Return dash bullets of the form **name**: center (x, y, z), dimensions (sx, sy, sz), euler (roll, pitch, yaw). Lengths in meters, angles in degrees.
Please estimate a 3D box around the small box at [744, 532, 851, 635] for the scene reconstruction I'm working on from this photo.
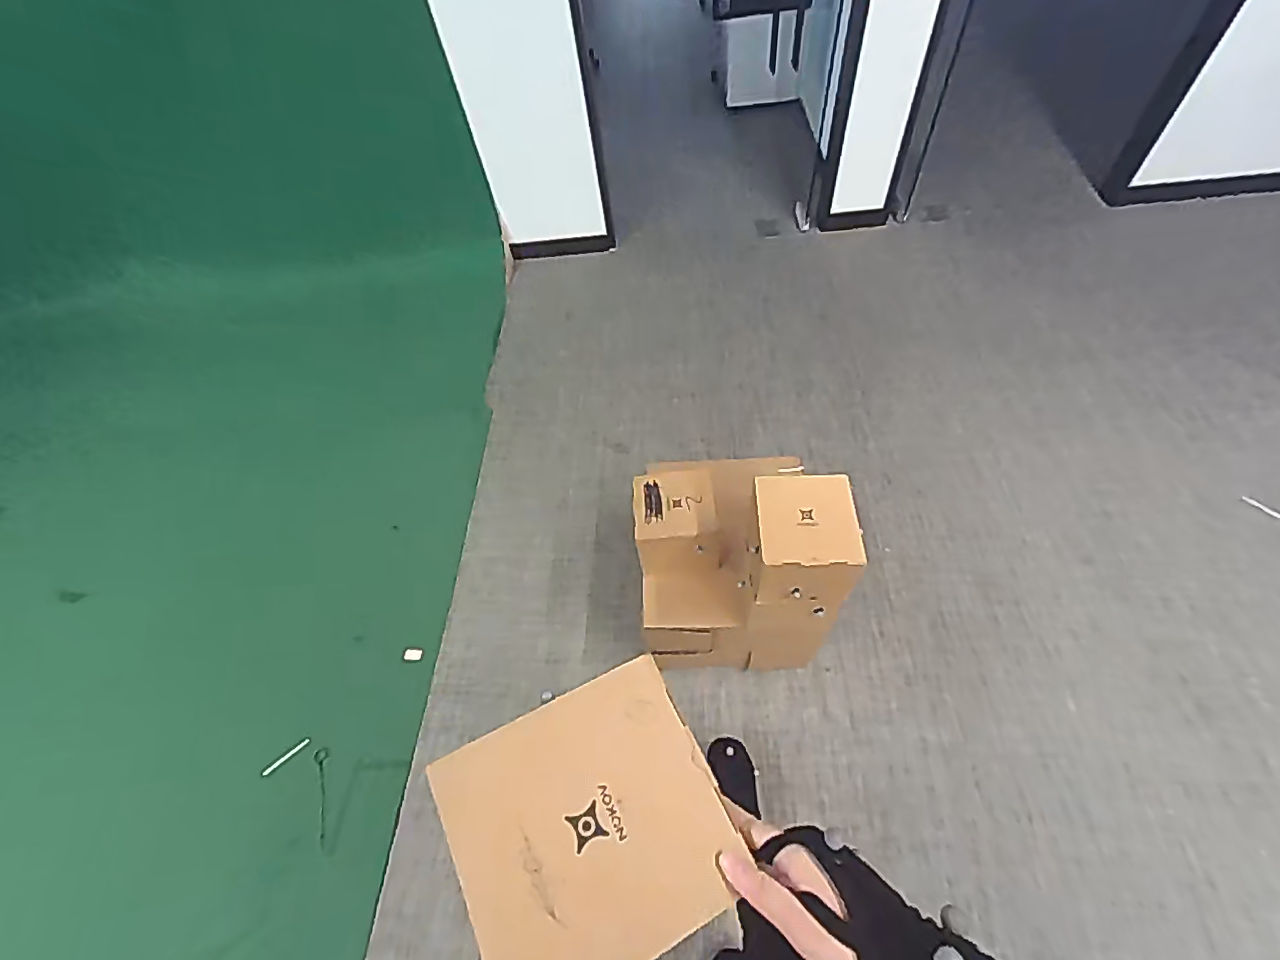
- **small box**: center (0.312, 0.211, 1.109), dimensions (0.179, 0.176, 0.168), euler (-2, 54, 6)

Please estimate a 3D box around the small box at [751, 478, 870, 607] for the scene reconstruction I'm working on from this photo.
- **small box**: center (0.295, 0.115, 0.978), dimensions (0.168, 0.176, 0.179), euler (-1, 56, 6)

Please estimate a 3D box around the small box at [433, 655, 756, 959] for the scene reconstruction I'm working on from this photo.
- **small box**: center (-0.041, 0.267, 0.435), dimensions (0.179, 0.176, 0.168), euler (-21, 64, -17)
